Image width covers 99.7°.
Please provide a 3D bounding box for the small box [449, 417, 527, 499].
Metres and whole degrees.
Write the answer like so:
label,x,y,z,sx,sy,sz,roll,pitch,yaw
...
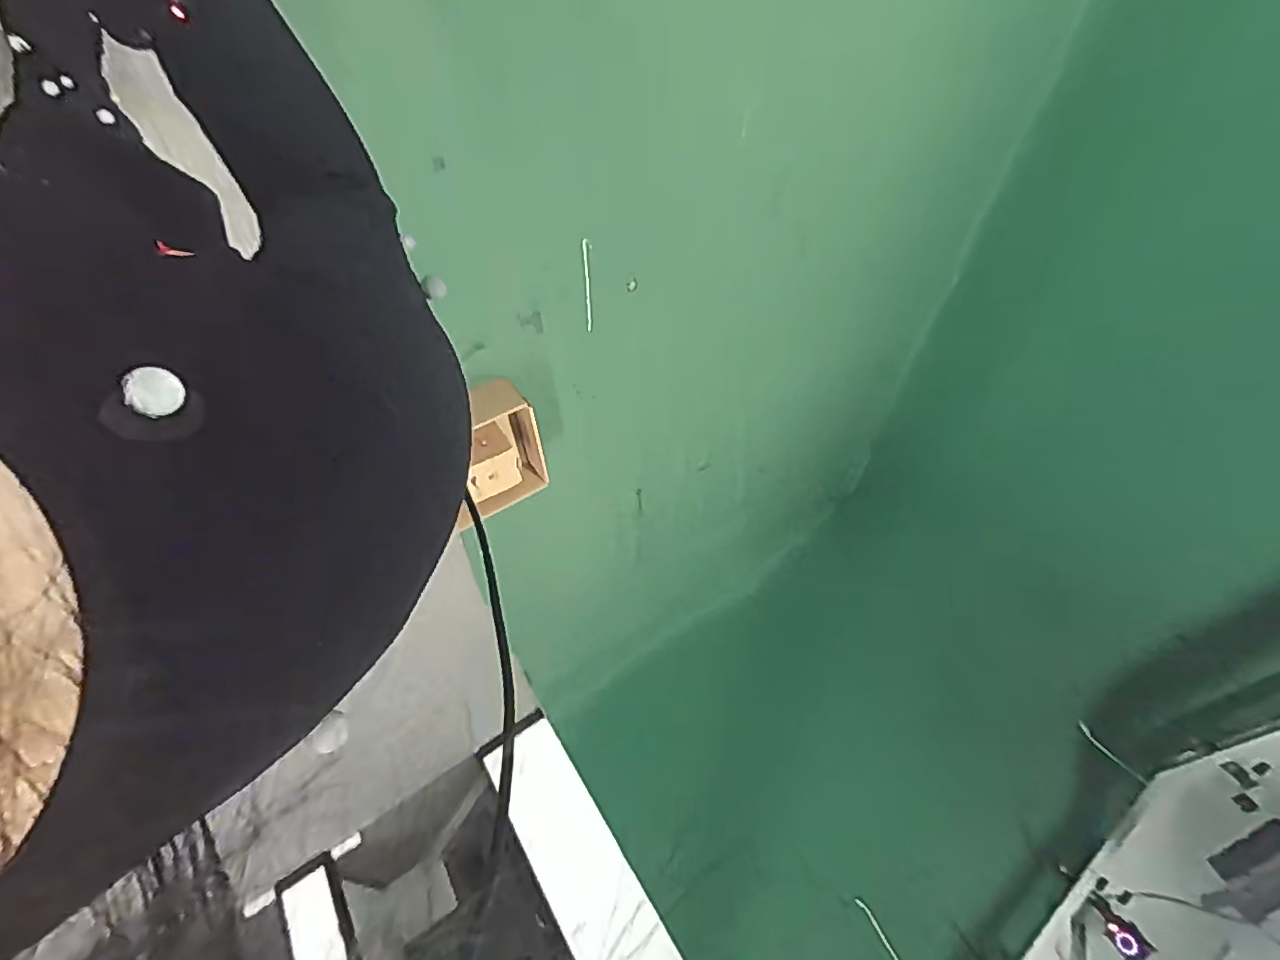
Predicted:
label,x,y,z,sx,sy,sz,roll,pitch,yaw
small box,-0.495,-0.077,1.767,0.179,0.176,0.168,-27,145,-21
